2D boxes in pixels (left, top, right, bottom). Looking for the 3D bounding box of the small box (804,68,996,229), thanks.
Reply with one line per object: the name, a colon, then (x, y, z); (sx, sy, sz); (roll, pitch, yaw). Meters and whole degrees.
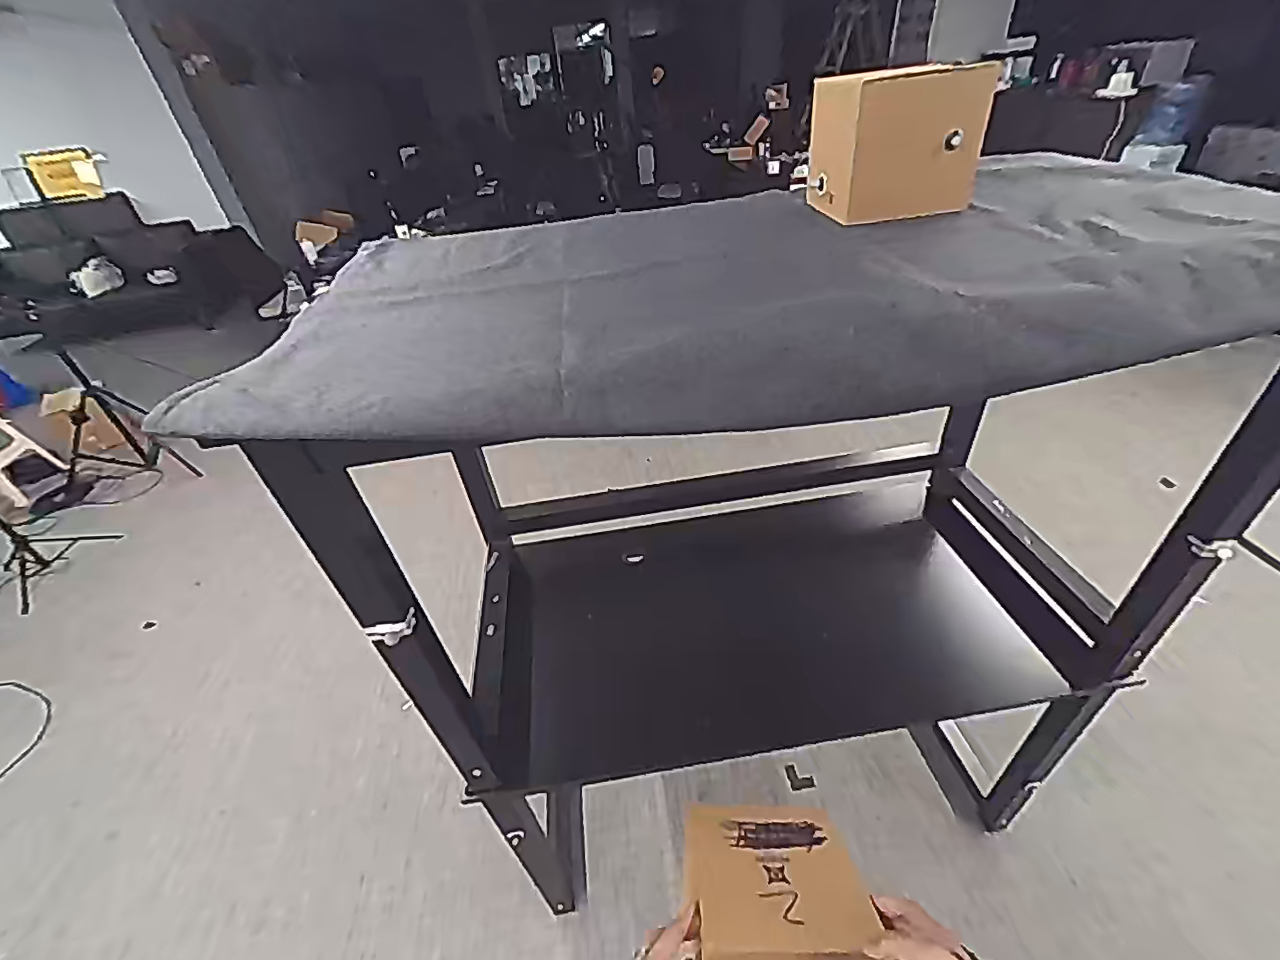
small box: (0.348, -0.469, 0.765); (0.179, 0.176, 0.168); (-8, 37, -1)
